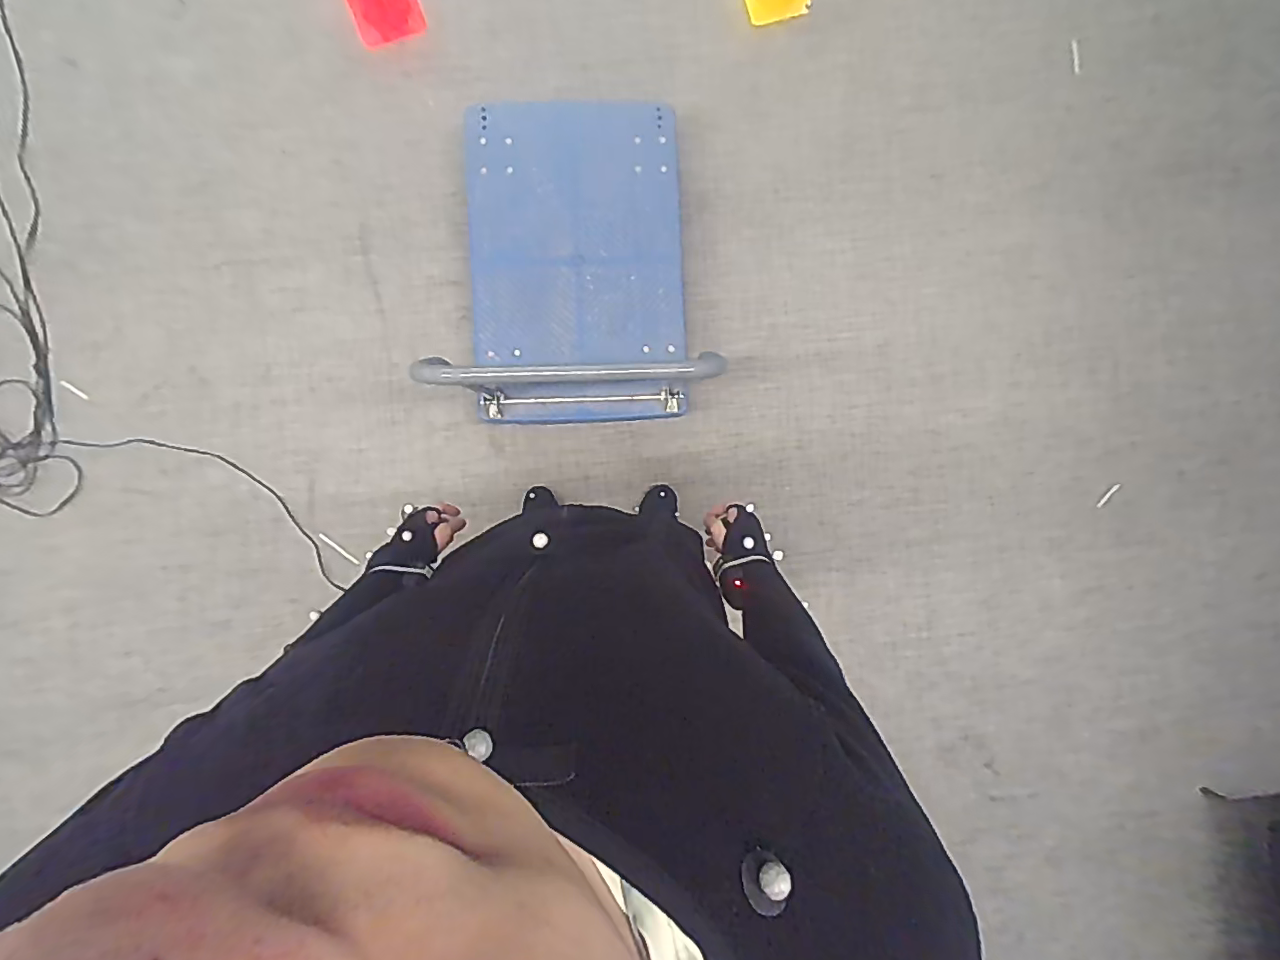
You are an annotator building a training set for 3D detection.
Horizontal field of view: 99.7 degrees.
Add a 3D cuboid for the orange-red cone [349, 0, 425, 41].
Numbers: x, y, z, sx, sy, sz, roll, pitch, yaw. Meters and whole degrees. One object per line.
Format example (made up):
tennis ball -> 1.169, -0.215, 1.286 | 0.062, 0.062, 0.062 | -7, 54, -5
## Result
orange-red cone -> -0.750, -1.418, 1.433 | 0.199, 0.360, 0.198 | -20, 90, -2
